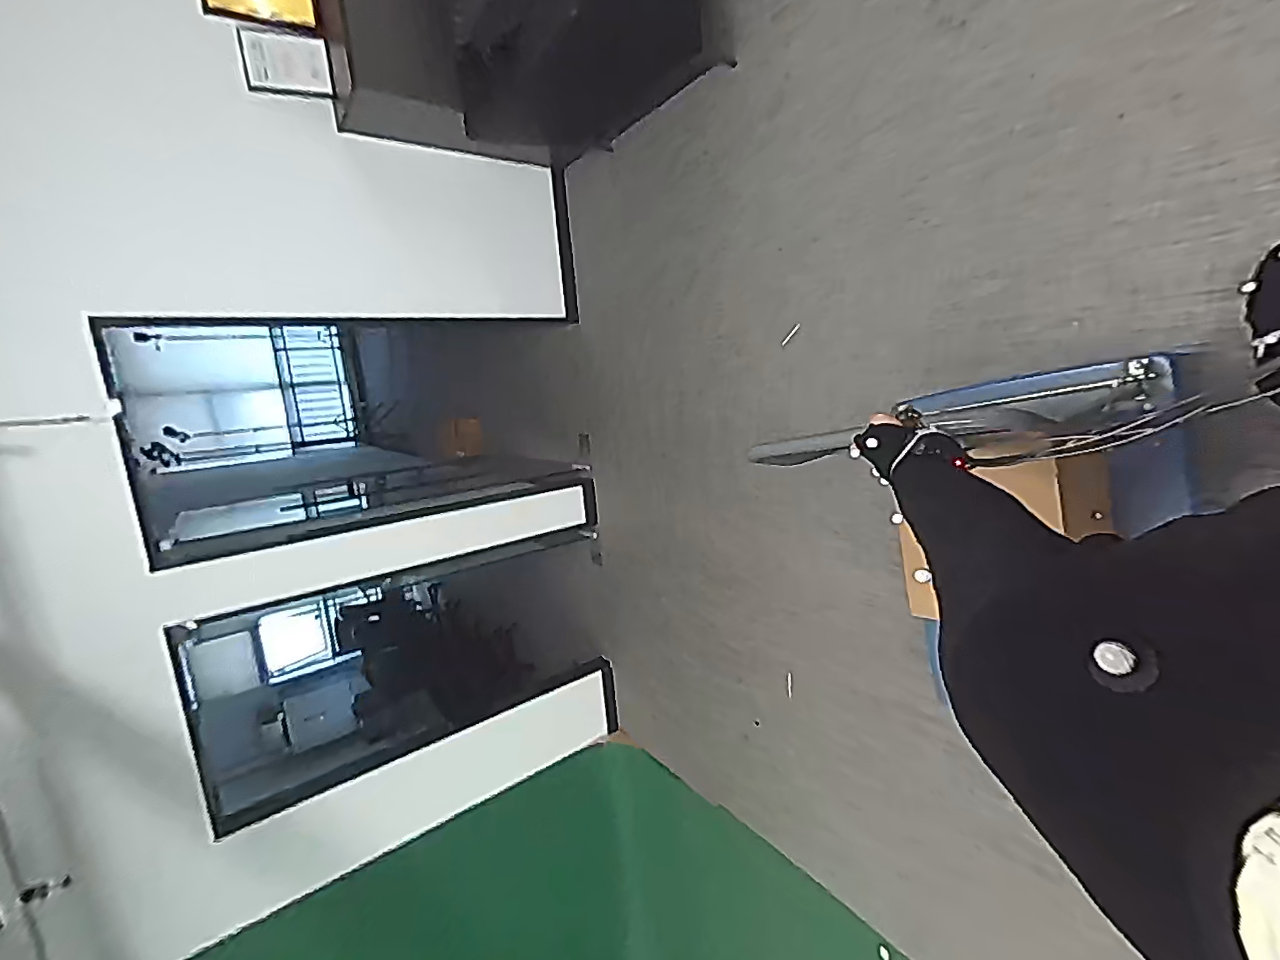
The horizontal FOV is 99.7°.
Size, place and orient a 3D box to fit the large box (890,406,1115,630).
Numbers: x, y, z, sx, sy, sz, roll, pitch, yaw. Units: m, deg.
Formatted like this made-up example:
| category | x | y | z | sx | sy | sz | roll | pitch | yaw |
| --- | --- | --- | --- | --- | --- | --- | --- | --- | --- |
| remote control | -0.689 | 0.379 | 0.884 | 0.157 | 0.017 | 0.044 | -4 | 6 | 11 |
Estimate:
| category | x | y | z | sx | sy | sz | roll | pitch | yaw |
| --- | --- | --- | --- | --- | --- | --- | --- | --- | --- |
| large box | 0.806 | 0.069 | 1.202 | 0.320 | 0.320 | 0.408 | -5 | 96 | 53 |
